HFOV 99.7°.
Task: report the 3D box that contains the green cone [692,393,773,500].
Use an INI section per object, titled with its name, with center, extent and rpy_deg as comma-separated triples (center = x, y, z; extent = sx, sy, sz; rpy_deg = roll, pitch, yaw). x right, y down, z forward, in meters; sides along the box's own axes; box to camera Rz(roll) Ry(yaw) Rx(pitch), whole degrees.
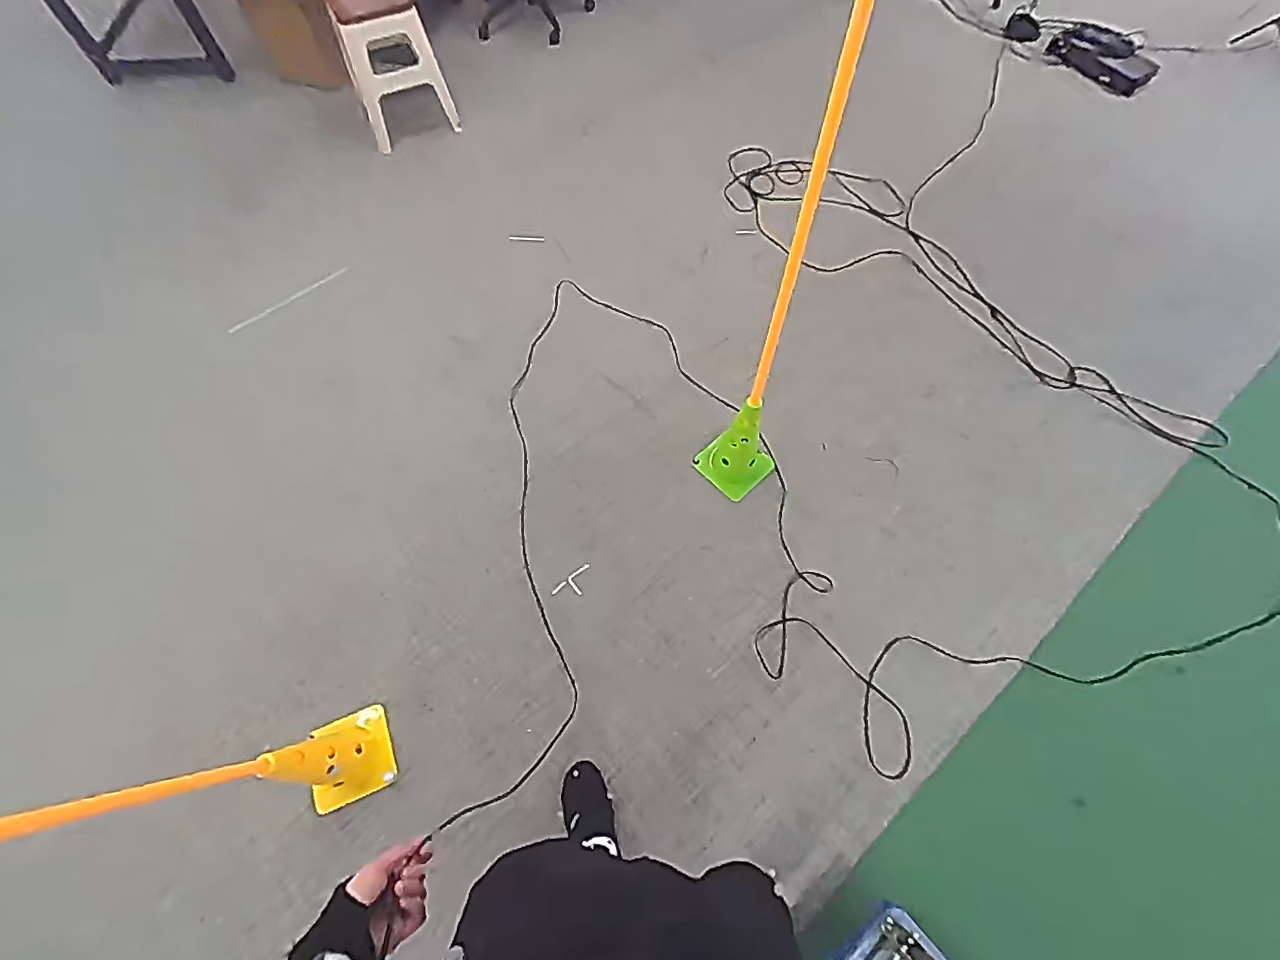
[green cone]
center = 0.298, -0.128, 1.569
extent = 0.202, 0.368, 0.200
rpy_deg = -41, 71, -19
